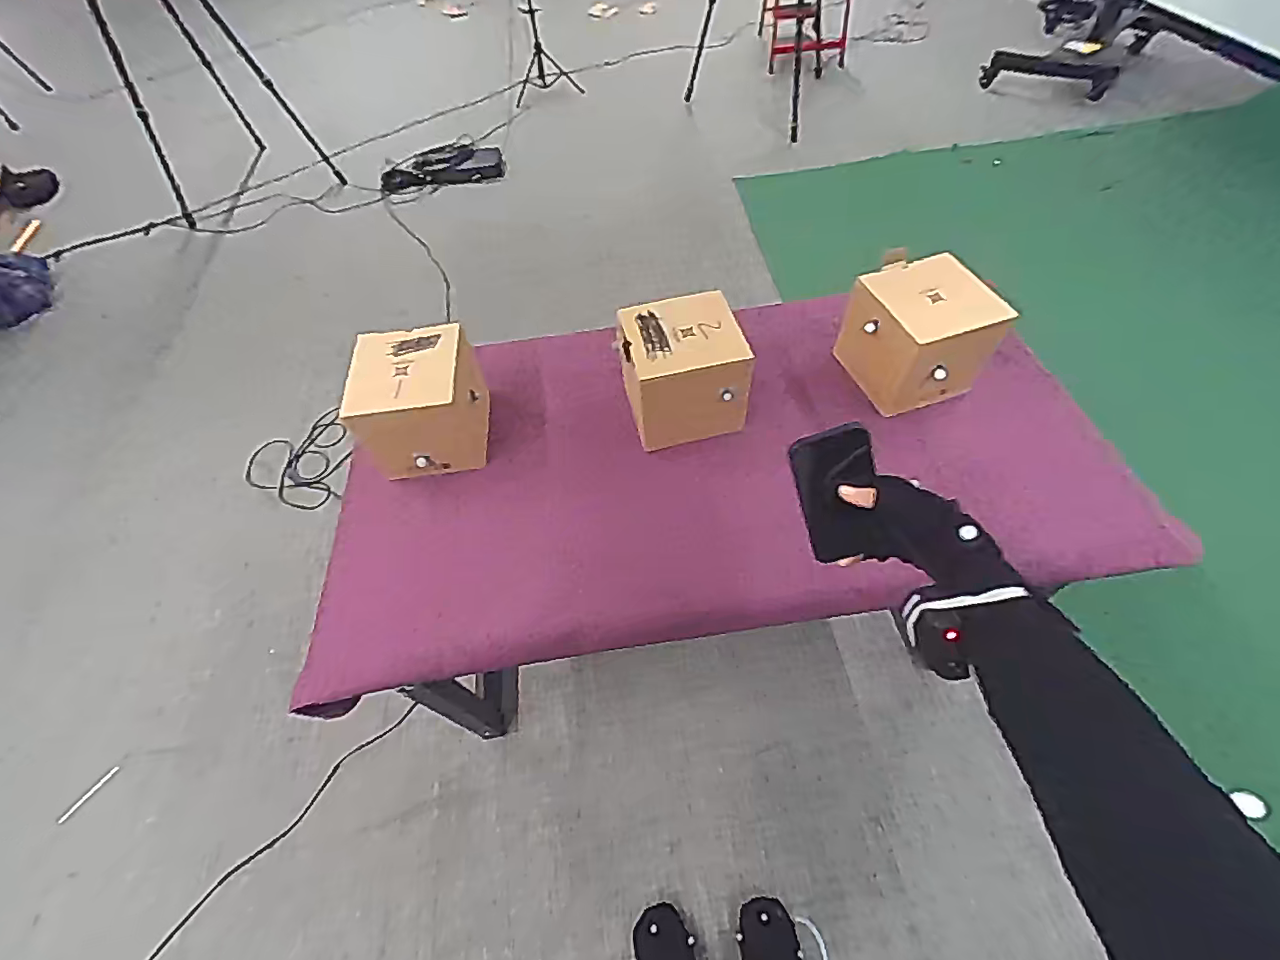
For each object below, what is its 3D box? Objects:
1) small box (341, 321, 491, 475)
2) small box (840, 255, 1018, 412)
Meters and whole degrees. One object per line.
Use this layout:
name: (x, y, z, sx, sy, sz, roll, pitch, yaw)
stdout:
small box: (-0.349, -0.130, 0.881, 0.168, 0.176, 0.179, -7, 57, 0)
small box: (0.459, -0.233, 0.893, 0.168, 0.176, 0.179, -17, 56, -6)
